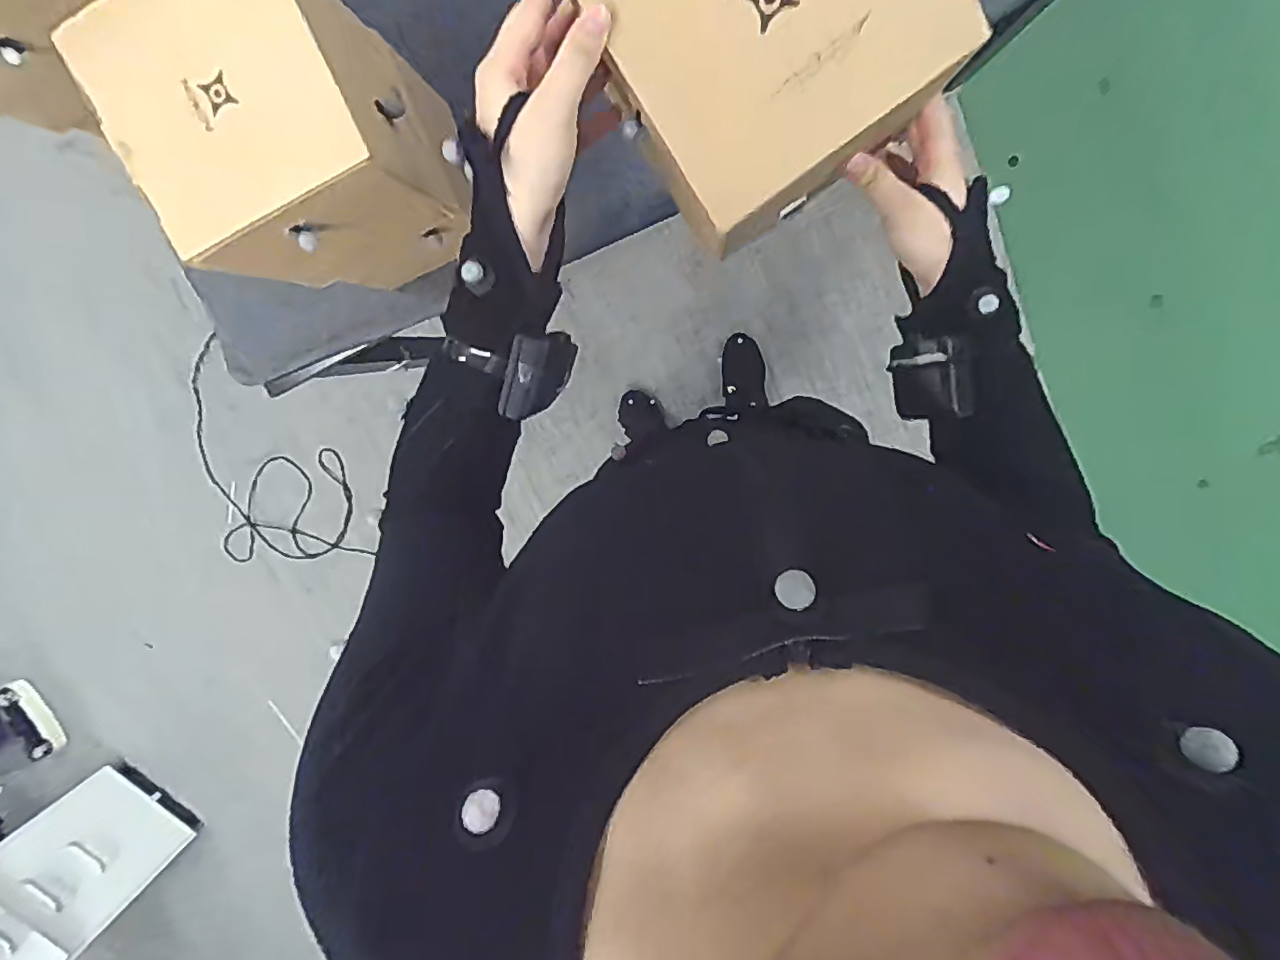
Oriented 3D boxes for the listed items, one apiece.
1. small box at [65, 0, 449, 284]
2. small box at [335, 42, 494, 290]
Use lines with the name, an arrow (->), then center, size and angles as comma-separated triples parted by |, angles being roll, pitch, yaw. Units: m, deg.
small box -> -0.289, -0.284, 0.459 | 0.179, 0.176, 0.168 | -22, 102, 11
small box -> -0.286, -0.332, 0.614 | 0.179, 0.176, 0.168 | -21, 101, 10
